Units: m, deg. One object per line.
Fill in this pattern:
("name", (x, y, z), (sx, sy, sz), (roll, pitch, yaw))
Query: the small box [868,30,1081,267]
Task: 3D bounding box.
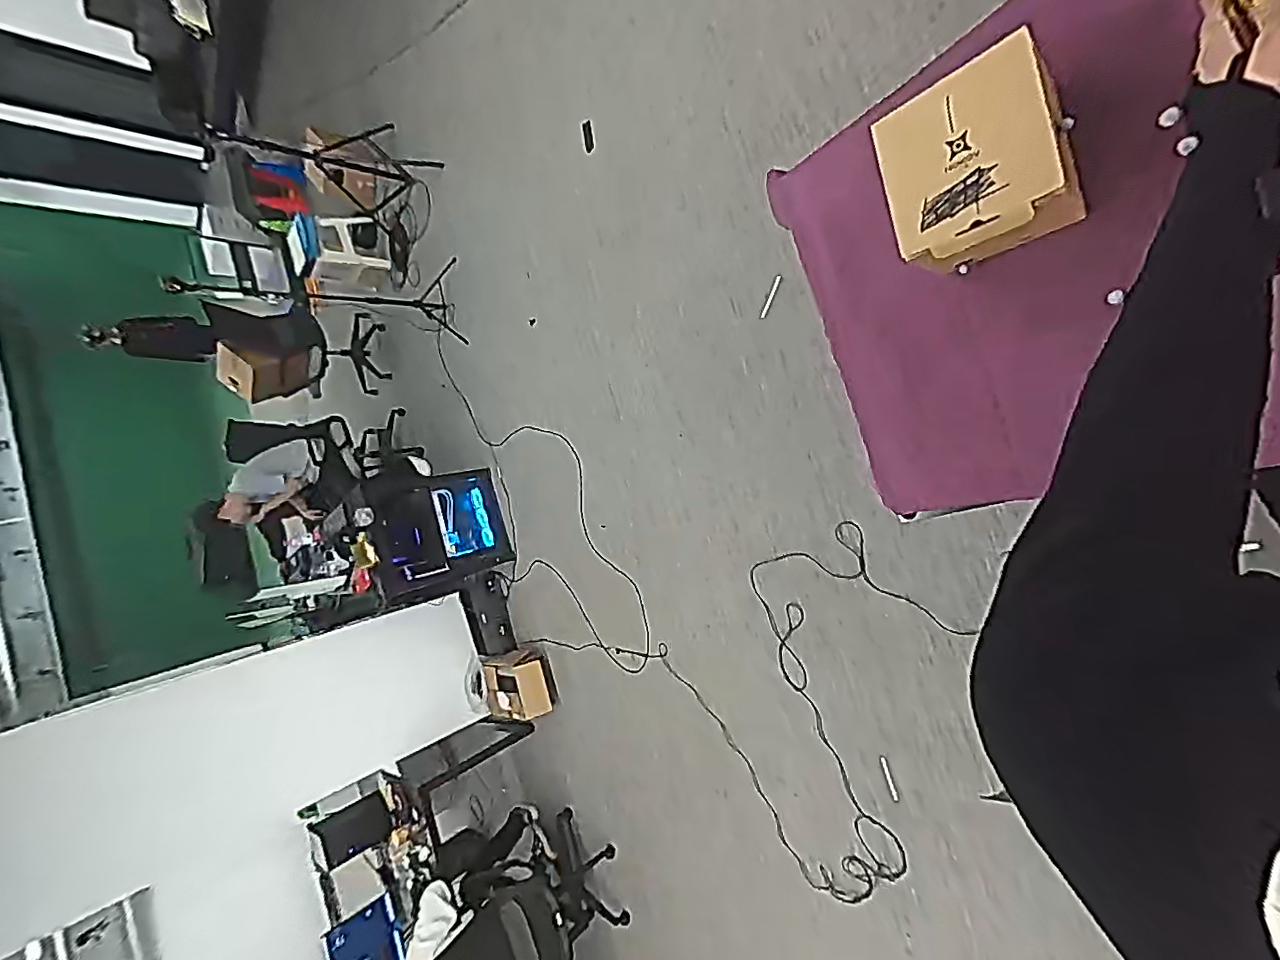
("small box", (0.410, -0.377, 0.660), (0.168, 0.176, 0.179), (-14, 89, 46))
